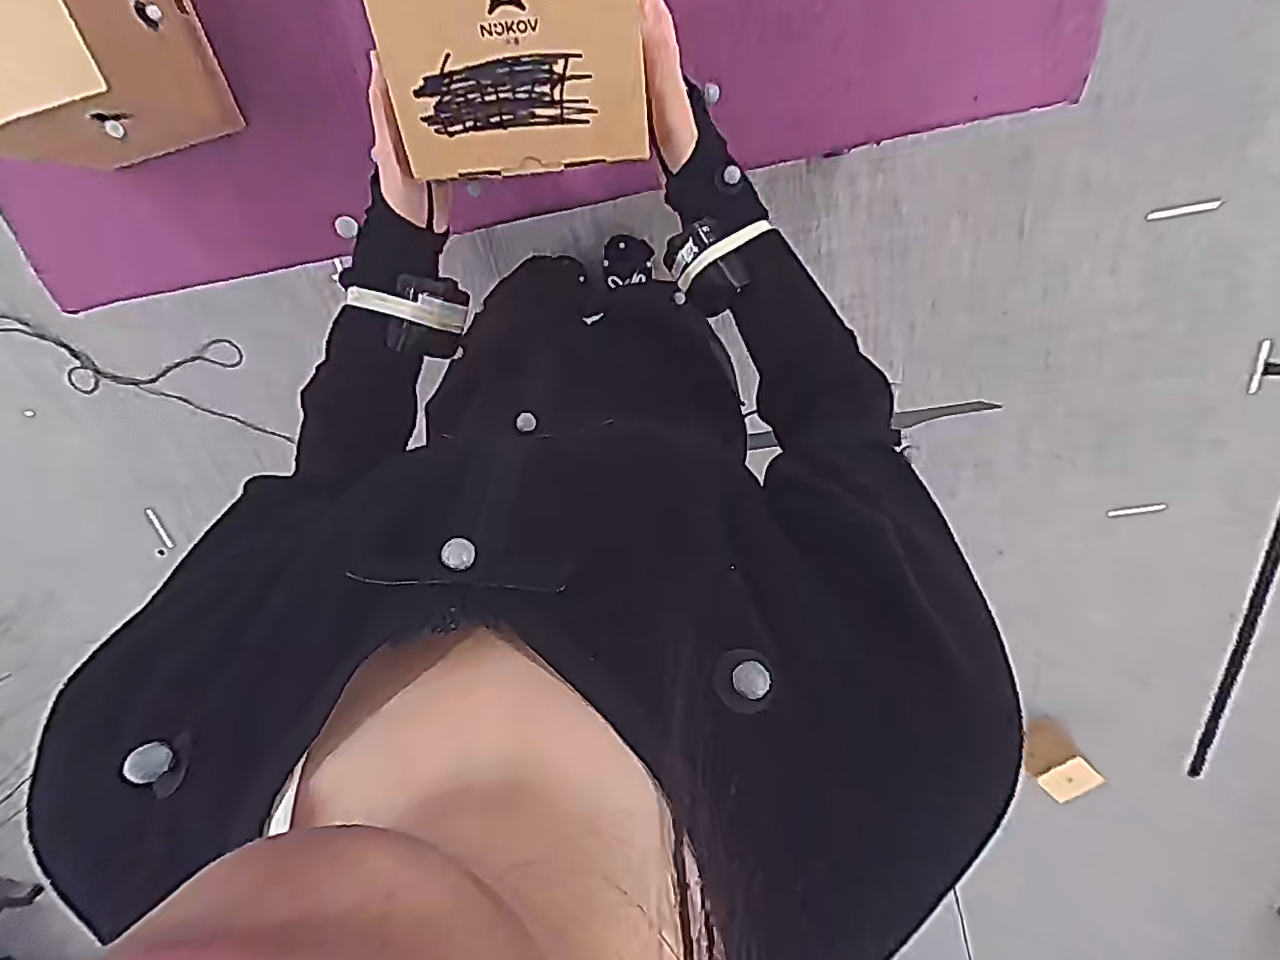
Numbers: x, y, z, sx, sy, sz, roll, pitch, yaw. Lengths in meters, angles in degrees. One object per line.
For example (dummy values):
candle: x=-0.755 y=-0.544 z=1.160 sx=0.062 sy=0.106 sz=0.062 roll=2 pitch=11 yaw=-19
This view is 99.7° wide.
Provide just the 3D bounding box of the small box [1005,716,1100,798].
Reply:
small box: x=1.437 y=0.964 z=1.898 sx=0.179 sy=0.176 sz=0.168 roll=39 pitch=111 yaw=-17

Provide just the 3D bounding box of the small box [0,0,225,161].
small box: x=-0.530 y=-0.409 z=0.489 sx=0.179 sy=0.176 sz=0.168 roll=-11 pitch=113 yaw=7
